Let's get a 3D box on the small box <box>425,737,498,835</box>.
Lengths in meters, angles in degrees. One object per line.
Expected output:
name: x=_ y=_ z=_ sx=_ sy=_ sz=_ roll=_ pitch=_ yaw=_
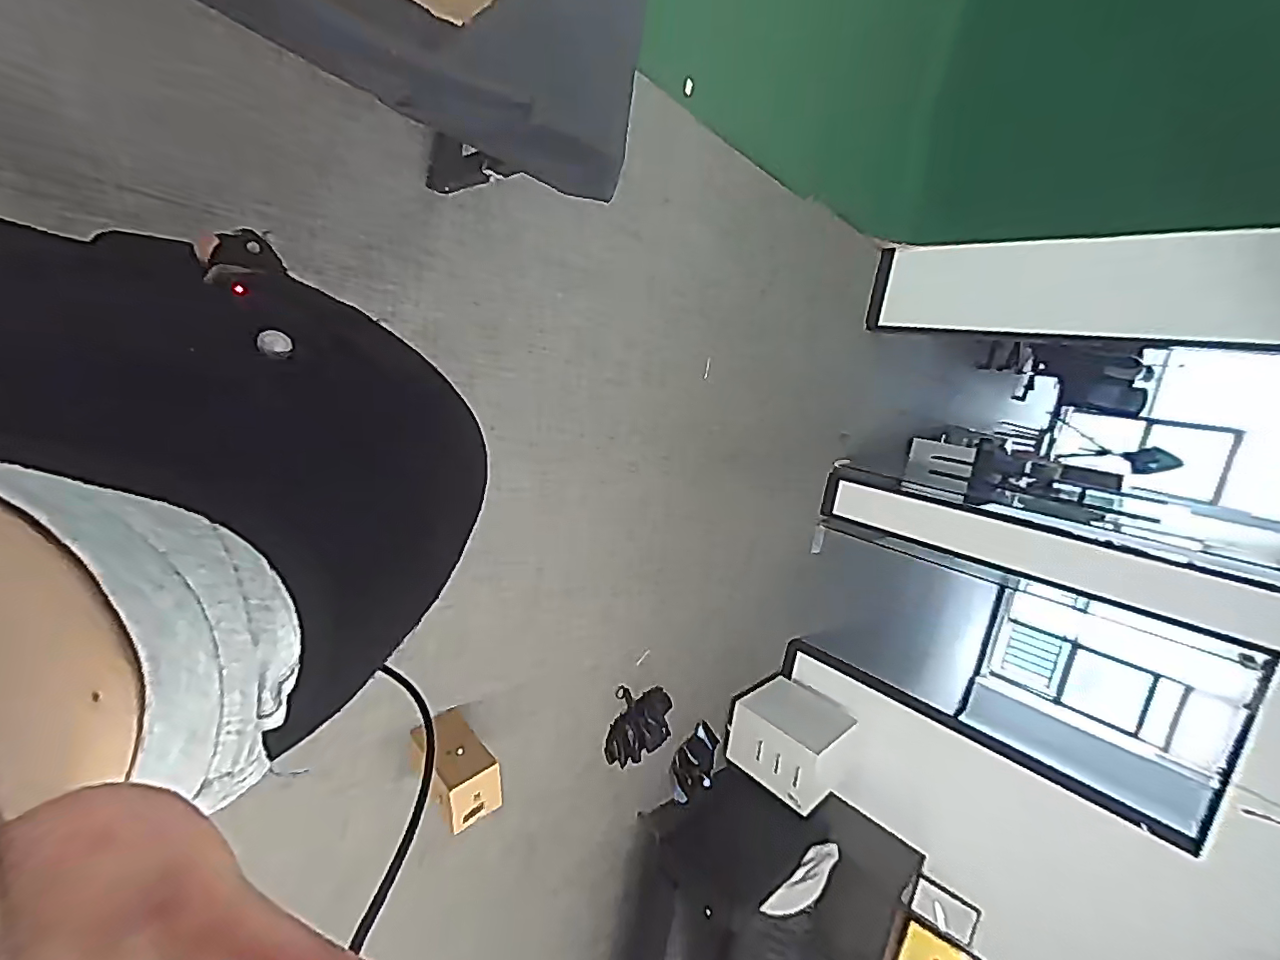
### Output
small box: x=-0.570 y=0.970 z=1.731 sx=0.168 sy=0.176 sz=0.179 roll=-15 pitch=114 yaw=-40

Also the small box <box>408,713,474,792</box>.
small box: x=-0.677 y=0.930 z=1.849 sx=0.168 sy=0.176 sz=0.179 roll=-16 pitch=117 yaw=-39
